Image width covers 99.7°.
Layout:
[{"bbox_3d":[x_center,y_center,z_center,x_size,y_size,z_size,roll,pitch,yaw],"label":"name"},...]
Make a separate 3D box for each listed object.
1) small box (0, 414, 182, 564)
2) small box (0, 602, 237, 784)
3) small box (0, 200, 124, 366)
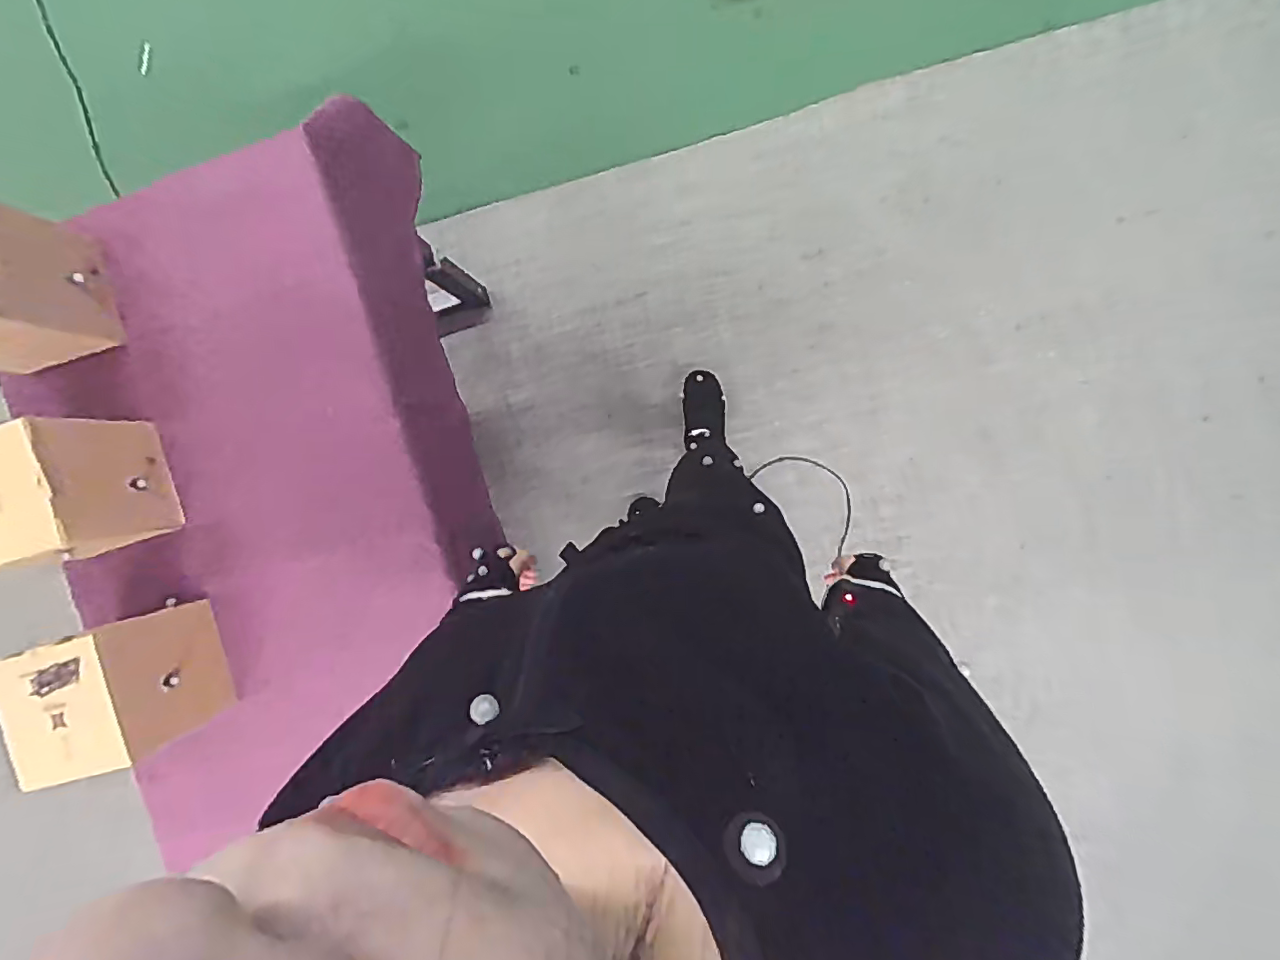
[{"bbox_3d":[-0.810,0.015,0.757,0.179,0.176,0.168,-17,92,5],"label":"small box"},{"bbox_3d":[-0.726,0.284,0.763,0.168,0.176,0.179,-15,93,6],"label":"small box"},{"bbox_3d":[-0.884,-0.264,0.742,0.179,0.176,0.168,-14,93,3],"label":"small box"}]
